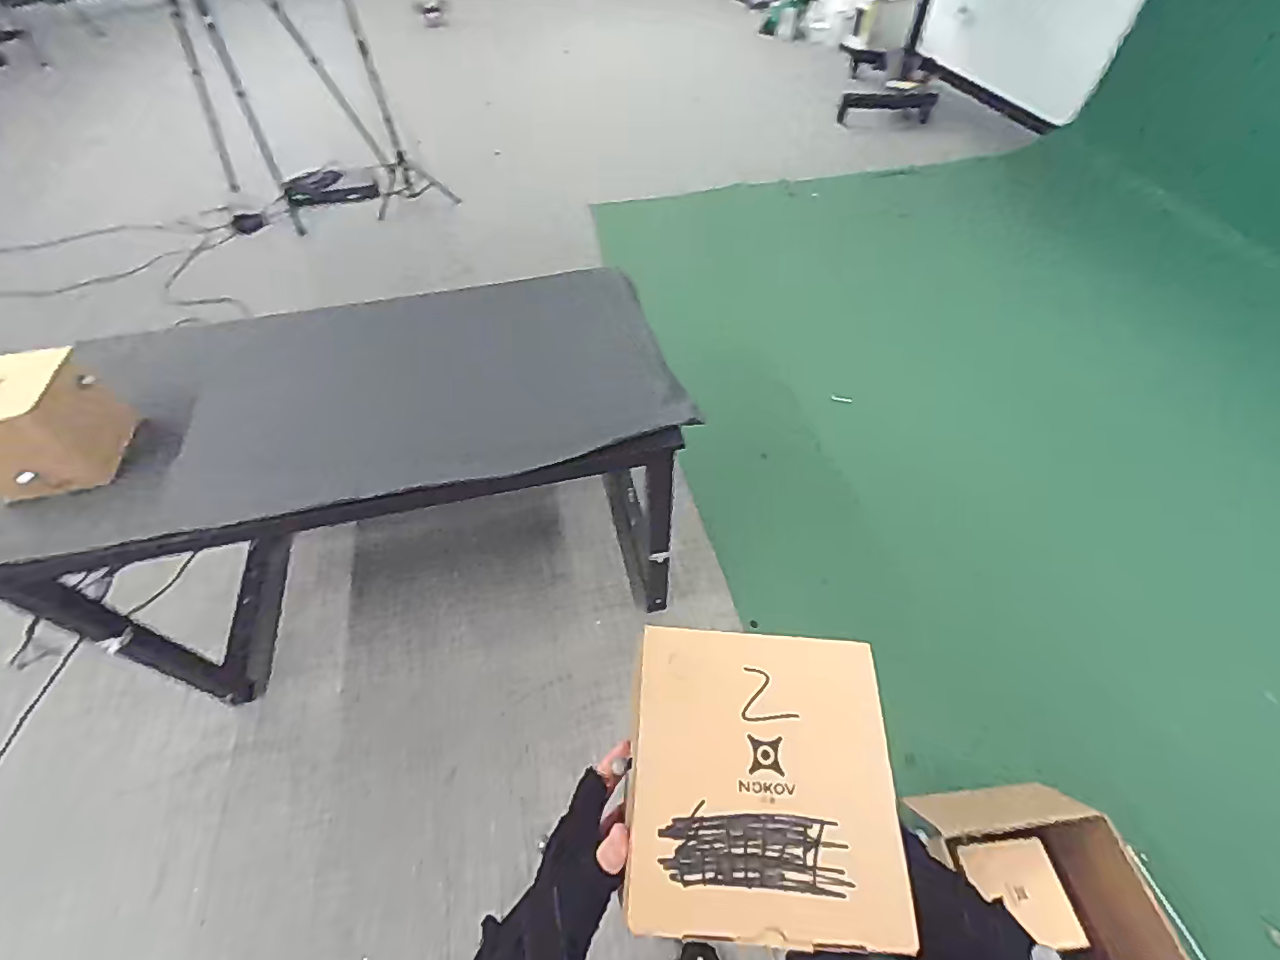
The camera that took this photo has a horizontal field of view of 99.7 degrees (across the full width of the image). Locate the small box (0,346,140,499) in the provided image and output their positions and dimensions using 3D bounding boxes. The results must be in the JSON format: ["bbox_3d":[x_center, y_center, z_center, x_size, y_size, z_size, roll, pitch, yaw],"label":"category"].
[{"bbox_3d":[-1.000,-0.096,0.904,0.168,0.176,0.179,-12,51,-10],"label":"small box"}]
